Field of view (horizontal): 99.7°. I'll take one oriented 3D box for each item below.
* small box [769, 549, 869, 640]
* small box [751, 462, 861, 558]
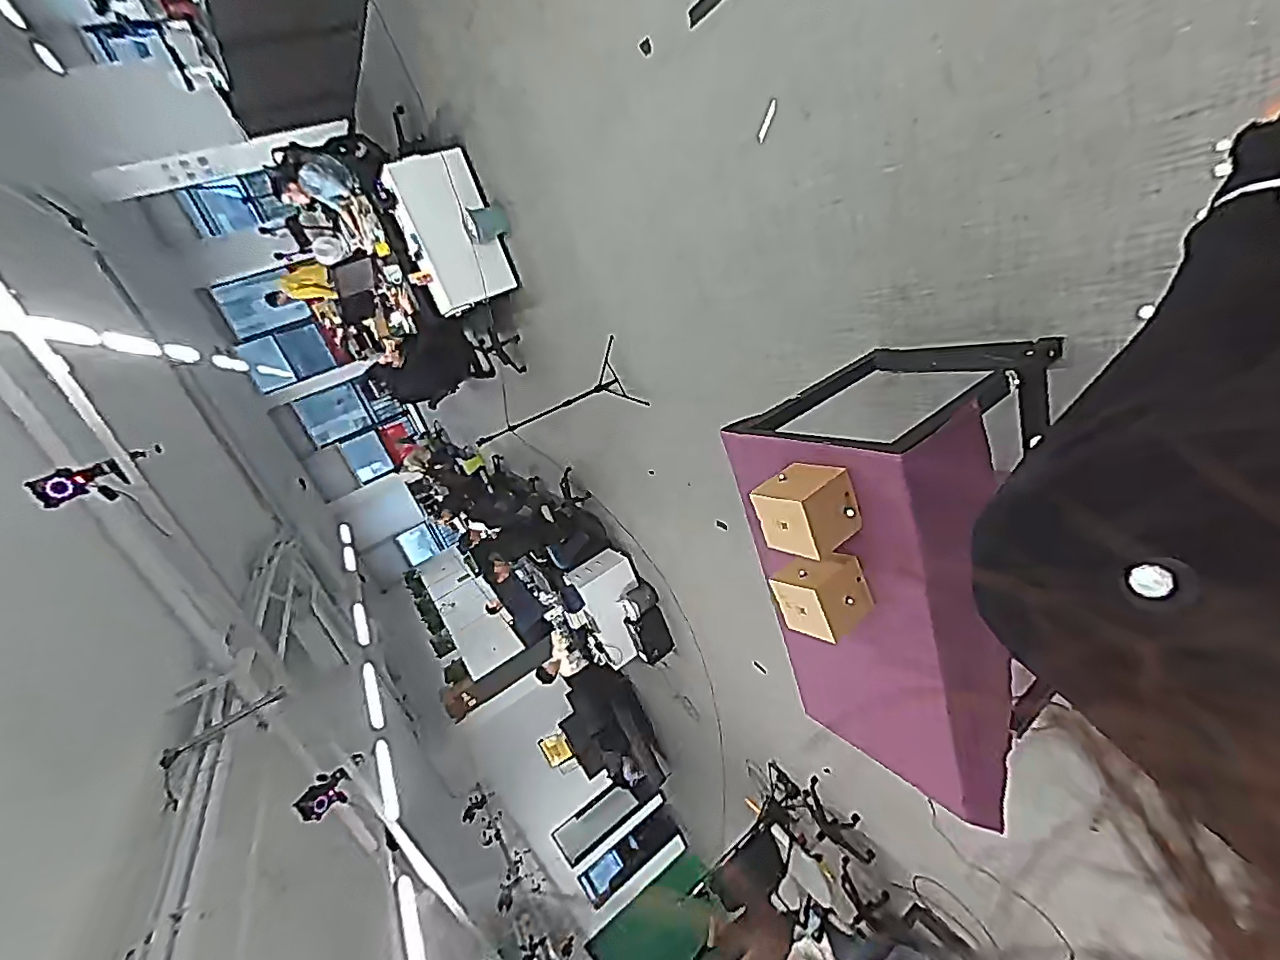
[{"bbox_3d":[0.492,0.298,1.466,0.179,0.176,0.168,2,120,64],"label":"small box"},{"bbox_3d":[0.414,0.065,1.349,0.179,0.176,0.168,13,130,60],"label":"small box"}]
